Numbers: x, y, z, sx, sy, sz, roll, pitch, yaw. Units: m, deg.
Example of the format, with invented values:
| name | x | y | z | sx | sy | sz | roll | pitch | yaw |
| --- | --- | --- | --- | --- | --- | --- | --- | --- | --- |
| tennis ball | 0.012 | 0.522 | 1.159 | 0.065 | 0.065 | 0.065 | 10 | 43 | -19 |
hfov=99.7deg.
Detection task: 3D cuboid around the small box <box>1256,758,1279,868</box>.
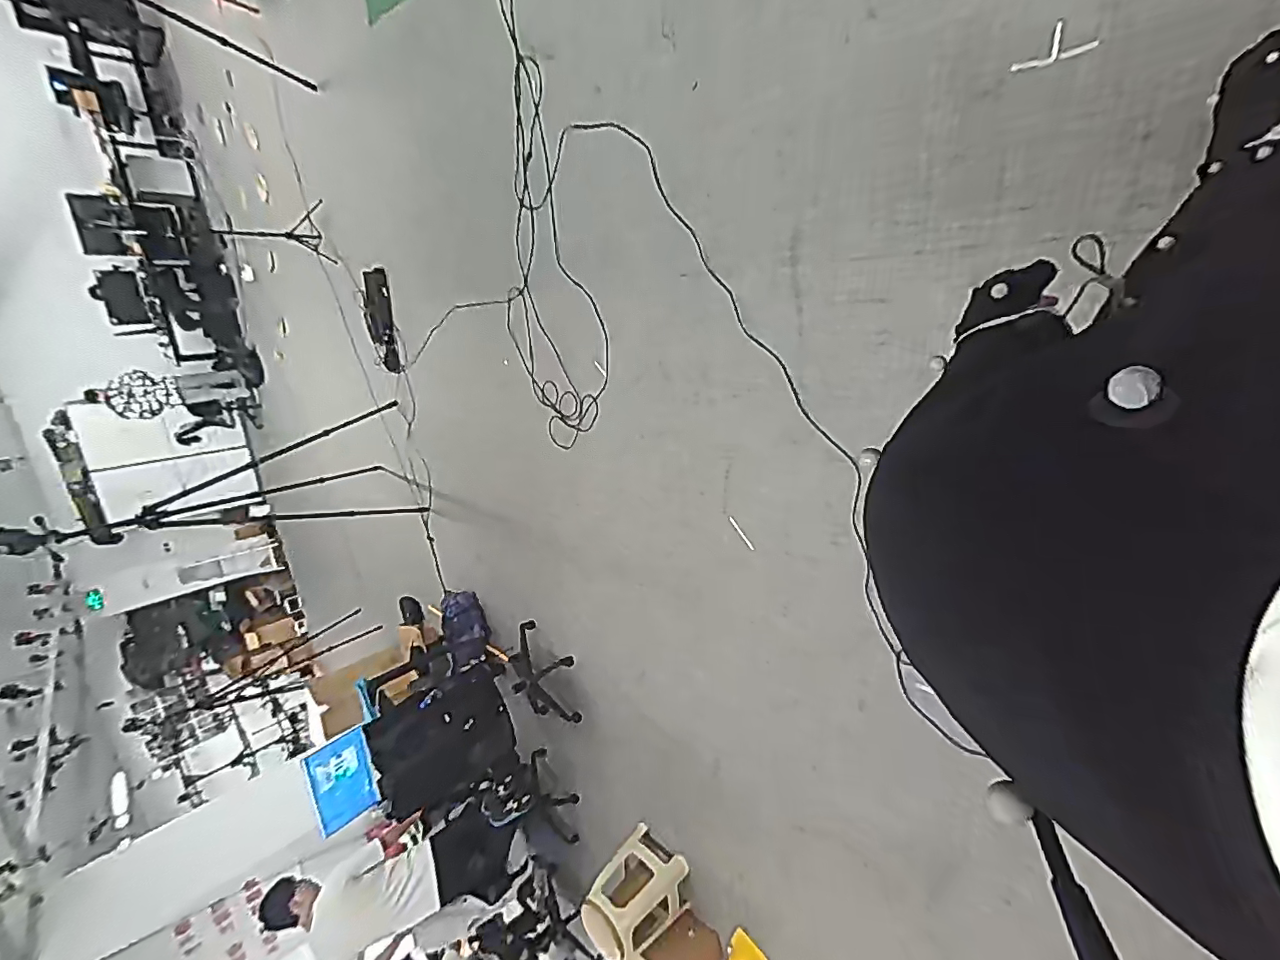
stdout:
| name | x | y | z | sx | sy | sz | roll | pitch | yaw |
| --- | --- | --- | --- | --- | --- | --- | --- | --- | --- |
| small box | 1.276 | 0.645 | 0.991 | 0.179 | 0.176 | 0.168 | 7 | 110 | 44 |
